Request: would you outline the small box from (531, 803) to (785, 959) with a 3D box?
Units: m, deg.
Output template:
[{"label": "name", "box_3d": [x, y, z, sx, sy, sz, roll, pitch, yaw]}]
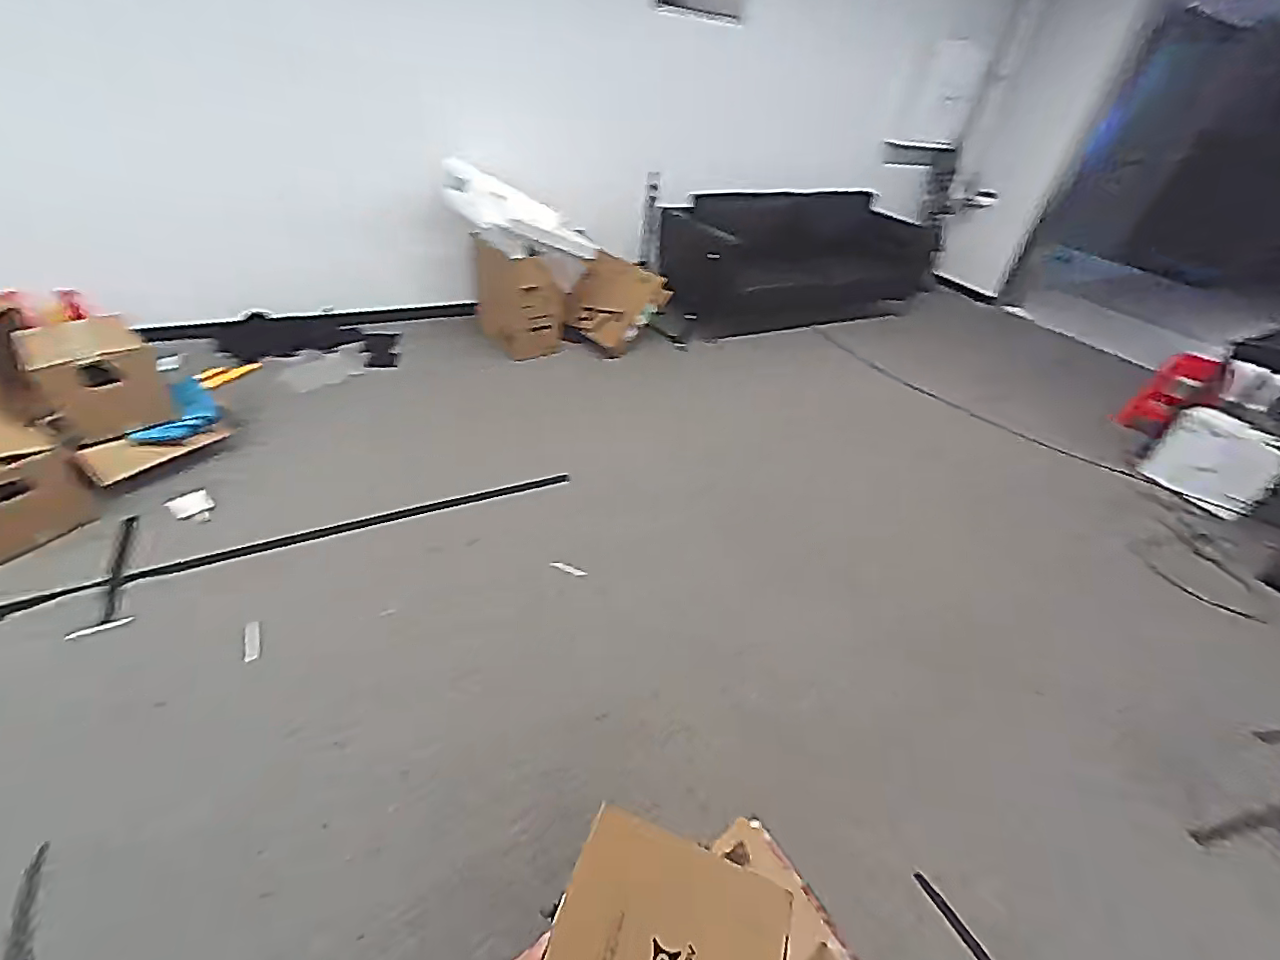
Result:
[{"label": "small box", "box_3d": [0.000, 0.411, 0.452, 0.179, 0.176, 0.168, 20, 43, 7]}]

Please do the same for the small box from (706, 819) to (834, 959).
[{"label": "small box", "box_3d": [0.138, 0.651, 0.783, 0.168, 0.176, 0.179, -18, 43, -31]}]
